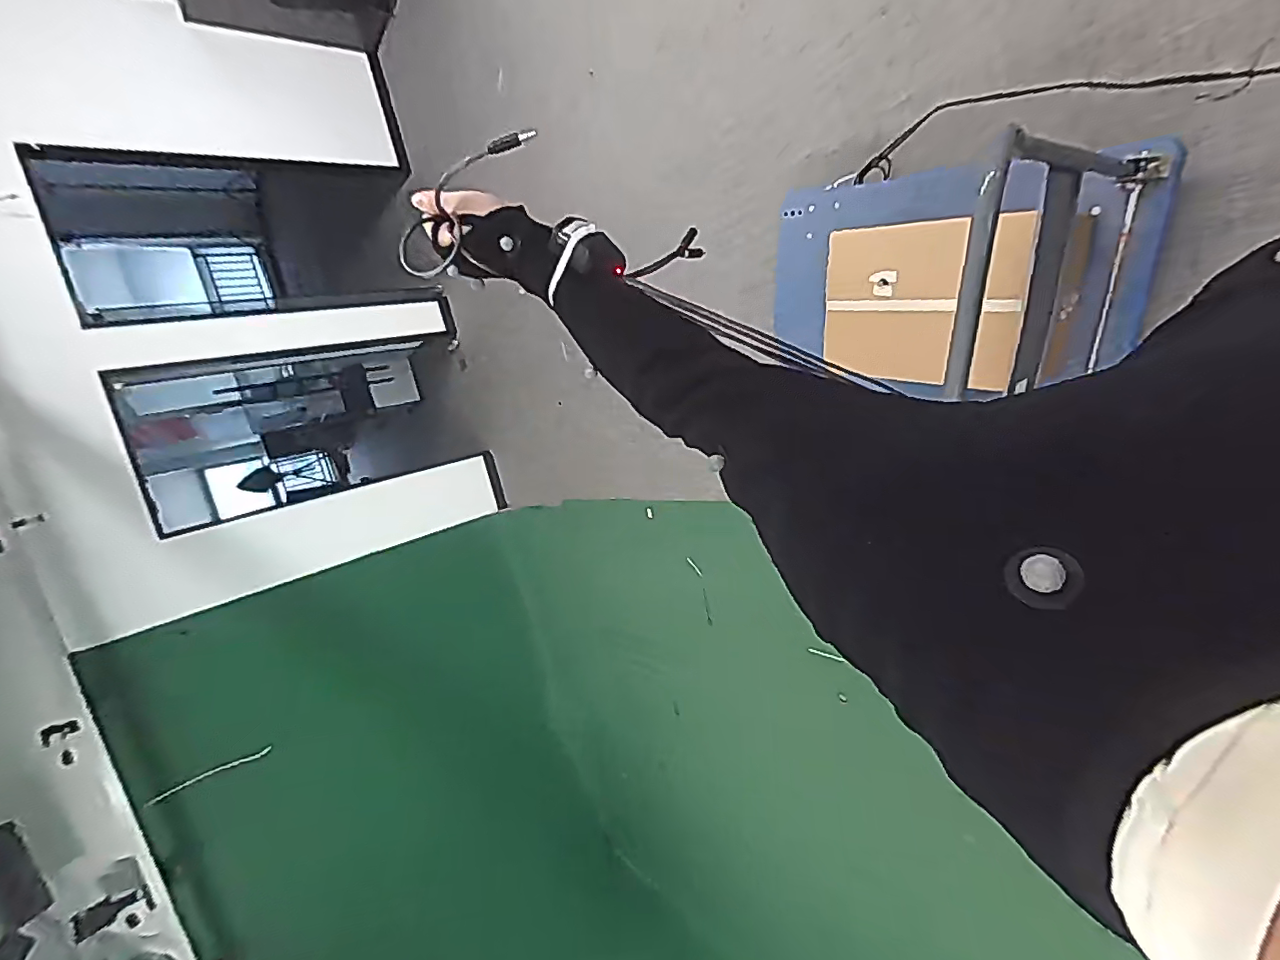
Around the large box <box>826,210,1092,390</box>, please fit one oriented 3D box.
[{"bbox_3d":[0.679,-0.395,1.189,0.408,0.320,0.320,21,121,48],"label":"large box"}]
